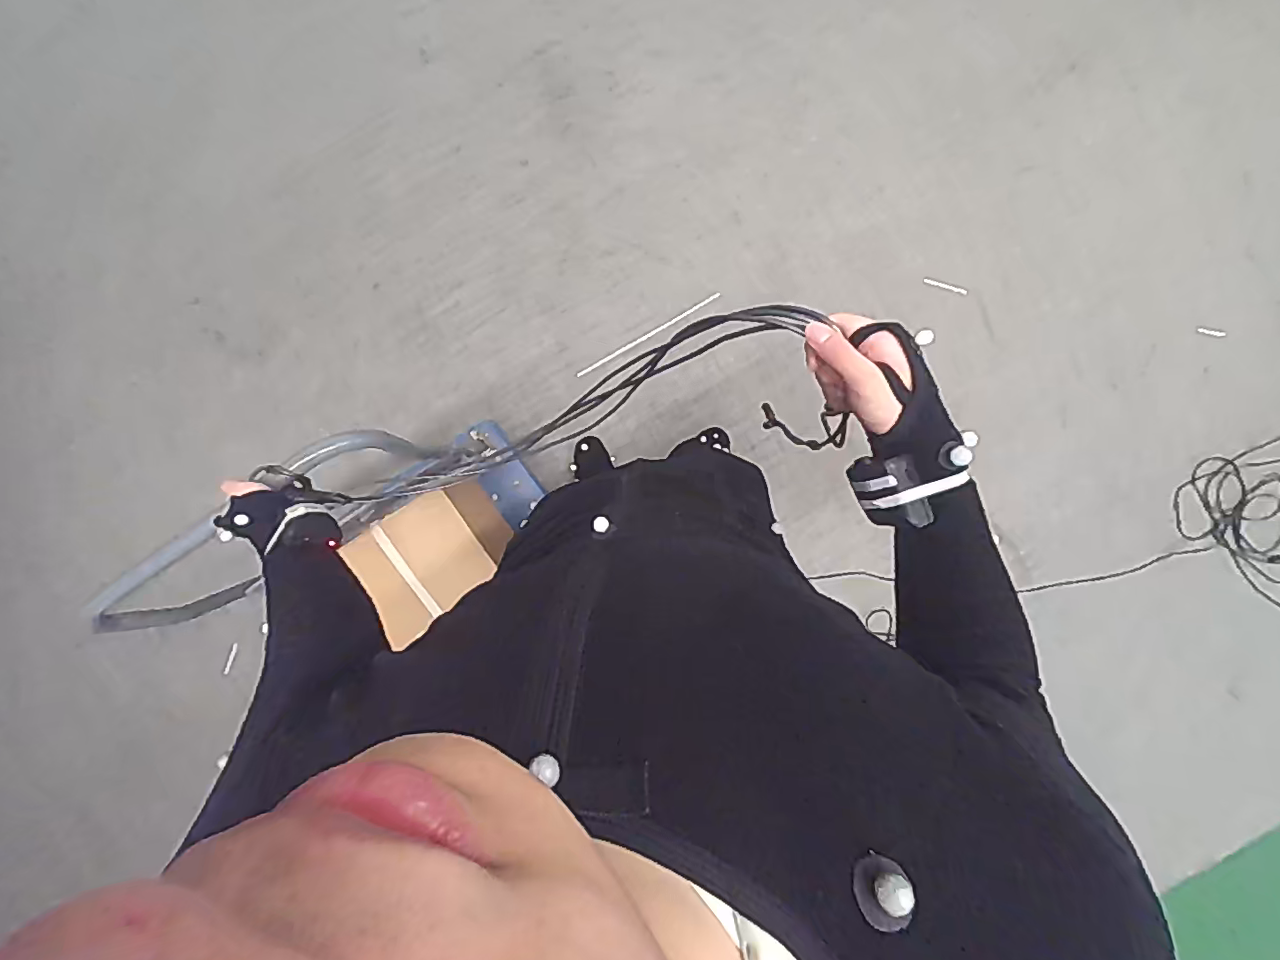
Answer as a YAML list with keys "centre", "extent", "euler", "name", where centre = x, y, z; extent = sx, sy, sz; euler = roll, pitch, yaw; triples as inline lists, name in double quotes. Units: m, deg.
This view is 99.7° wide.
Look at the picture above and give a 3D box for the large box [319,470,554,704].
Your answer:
- centre: [-0.449, 0.228, 1.294]
  extent: [0.320, 0.320, 0.408]
  euler: [-33, 97, -1]
  name: "large box"
